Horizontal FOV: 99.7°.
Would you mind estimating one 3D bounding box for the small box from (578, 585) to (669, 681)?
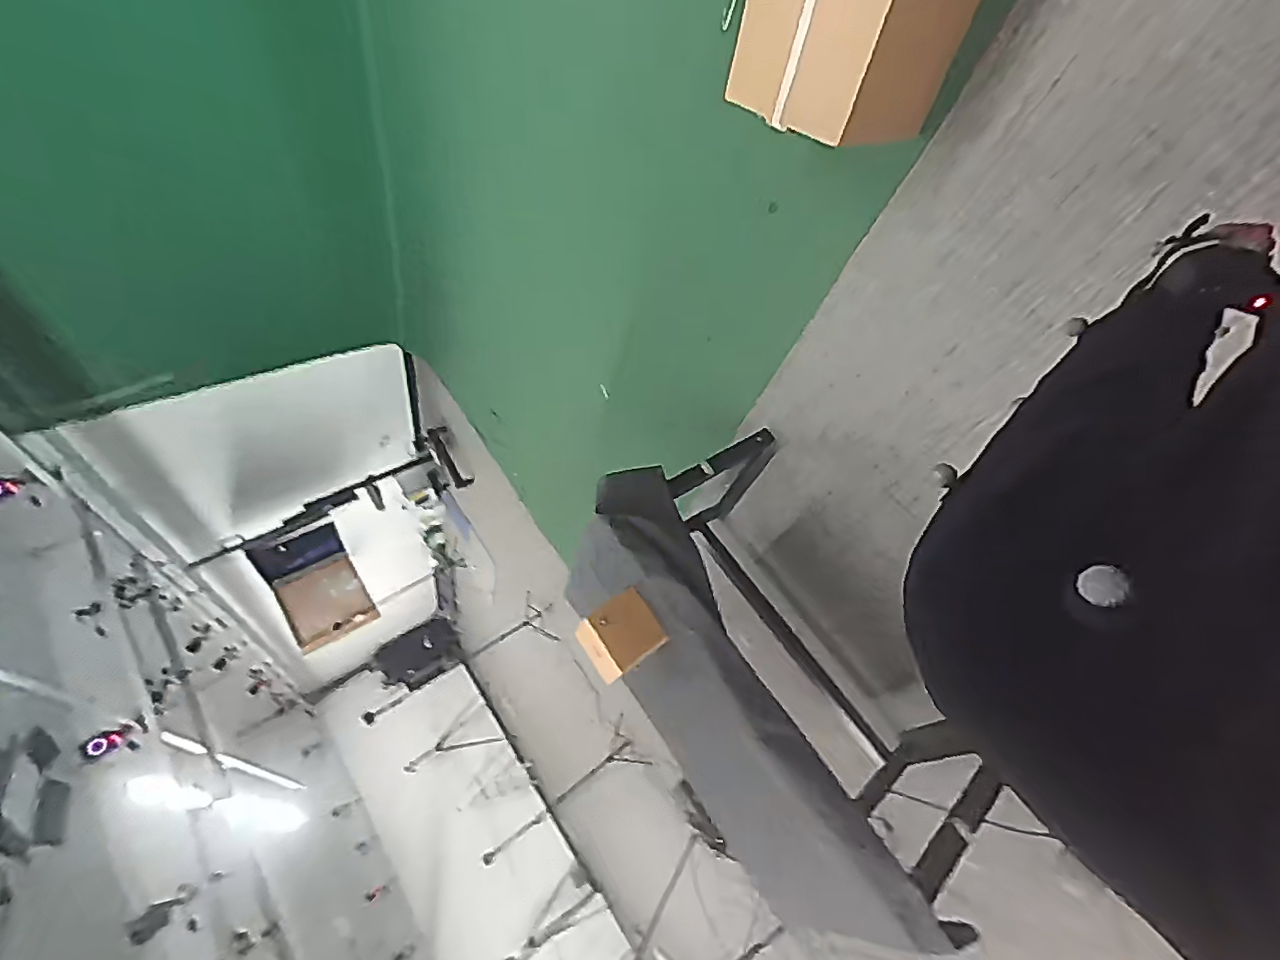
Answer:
[{"bbox_3d":[-0.045,0.424,1.502,0.179,0.176,0.168,53,149,16],"label":"small box"}]
